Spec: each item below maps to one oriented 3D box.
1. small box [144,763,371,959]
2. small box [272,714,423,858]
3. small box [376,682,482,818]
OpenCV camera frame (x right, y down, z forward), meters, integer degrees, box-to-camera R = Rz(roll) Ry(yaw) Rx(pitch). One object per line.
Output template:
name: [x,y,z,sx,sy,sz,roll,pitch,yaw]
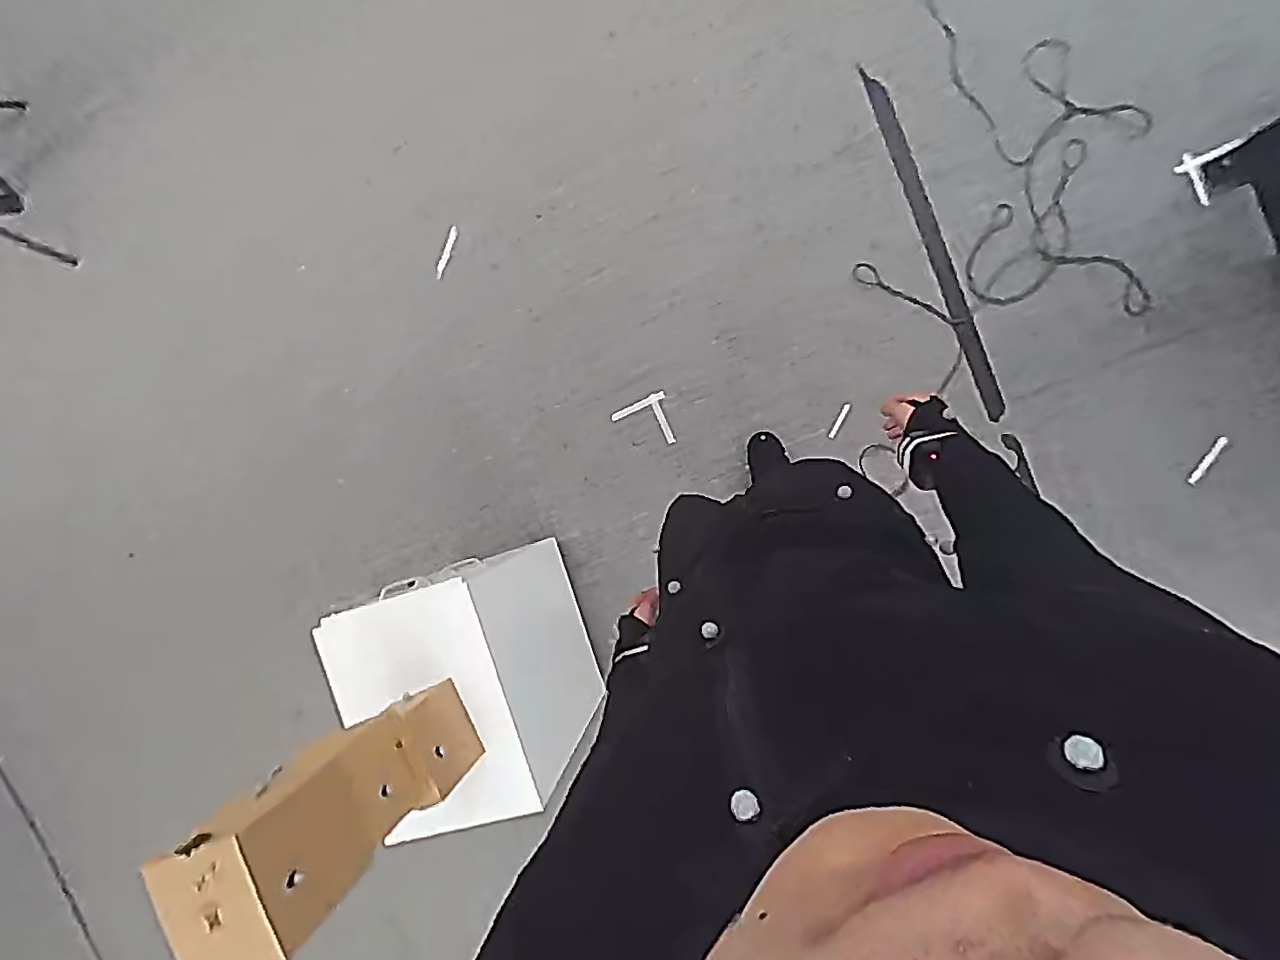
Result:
small box: [-0.518,0.541,0.758,0.168,0.176,0.179,-23,89,11]
small box: [-0.501,0.533,0.922,0.179,0.176,0.168,-25,89,12]
small box: [-0.448,0.539,1.078,0.168,0.176,0.179,-26,88,11]
